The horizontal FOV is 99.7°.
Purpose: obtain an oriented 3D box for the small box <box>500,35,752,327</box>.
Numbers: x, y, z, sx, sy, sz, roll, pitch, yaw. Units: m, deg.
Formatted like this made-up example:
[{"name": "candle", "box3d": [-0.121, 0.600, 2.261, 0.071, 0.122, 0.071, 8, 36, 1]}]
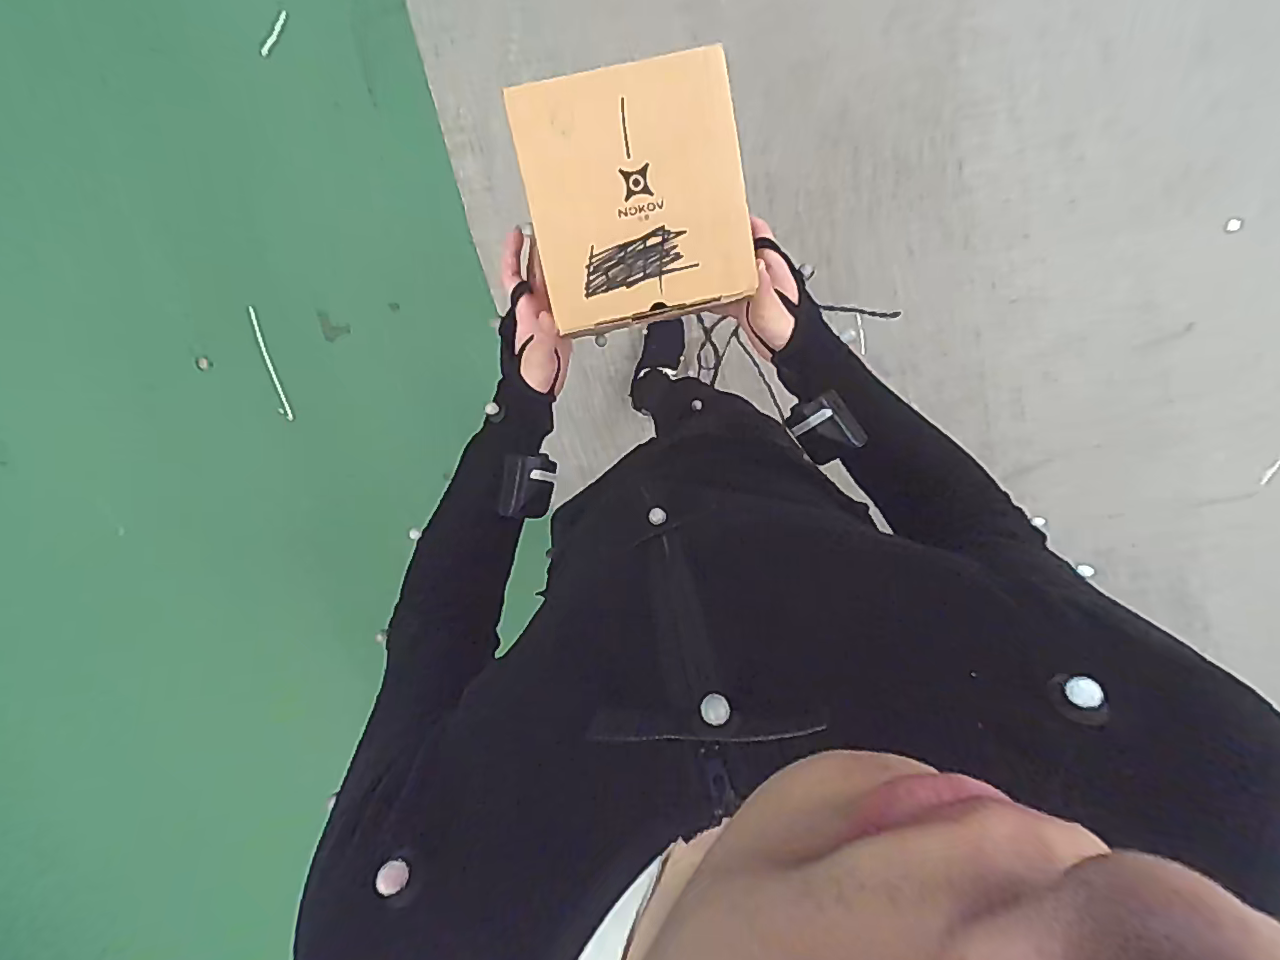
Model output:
[{"name": "small box", "box3d": [-0.008, -0.239, 0.483, 0.168, 0.176, 0.179, -12, 103, 0]}]
